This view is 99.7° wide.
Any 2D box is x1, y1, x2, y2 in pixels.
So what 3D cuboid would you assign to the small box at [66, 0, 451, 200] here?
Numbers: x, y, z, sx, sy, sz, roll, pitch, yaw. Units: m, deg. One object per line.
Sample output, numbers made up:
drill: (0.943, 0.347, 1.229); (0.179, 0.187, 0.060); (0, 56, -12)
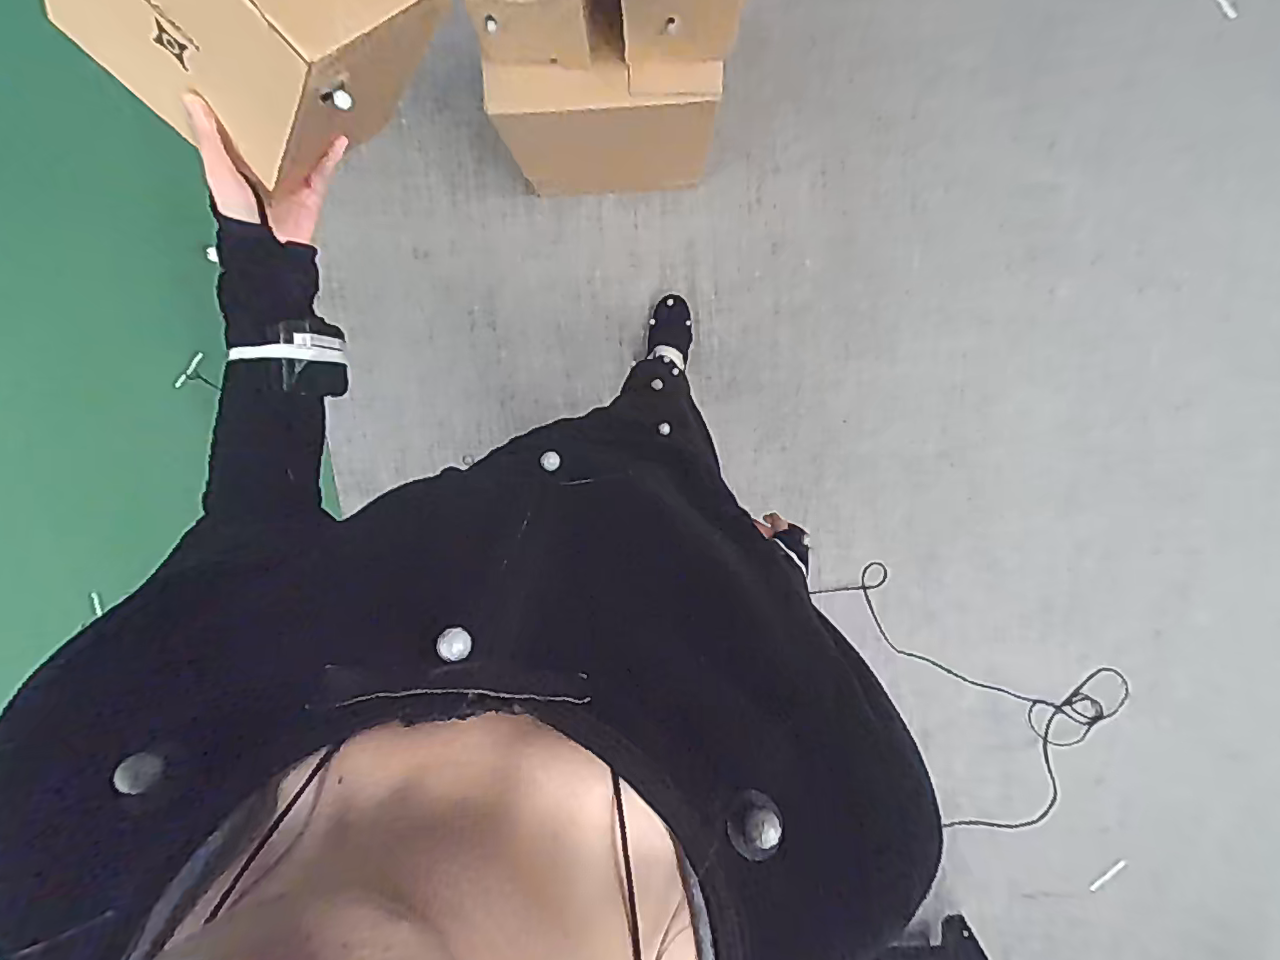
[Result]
small box: (-0.275, -0.362, 0.406); (0.168, 0.179, 0.176); (44, 56, -26)
